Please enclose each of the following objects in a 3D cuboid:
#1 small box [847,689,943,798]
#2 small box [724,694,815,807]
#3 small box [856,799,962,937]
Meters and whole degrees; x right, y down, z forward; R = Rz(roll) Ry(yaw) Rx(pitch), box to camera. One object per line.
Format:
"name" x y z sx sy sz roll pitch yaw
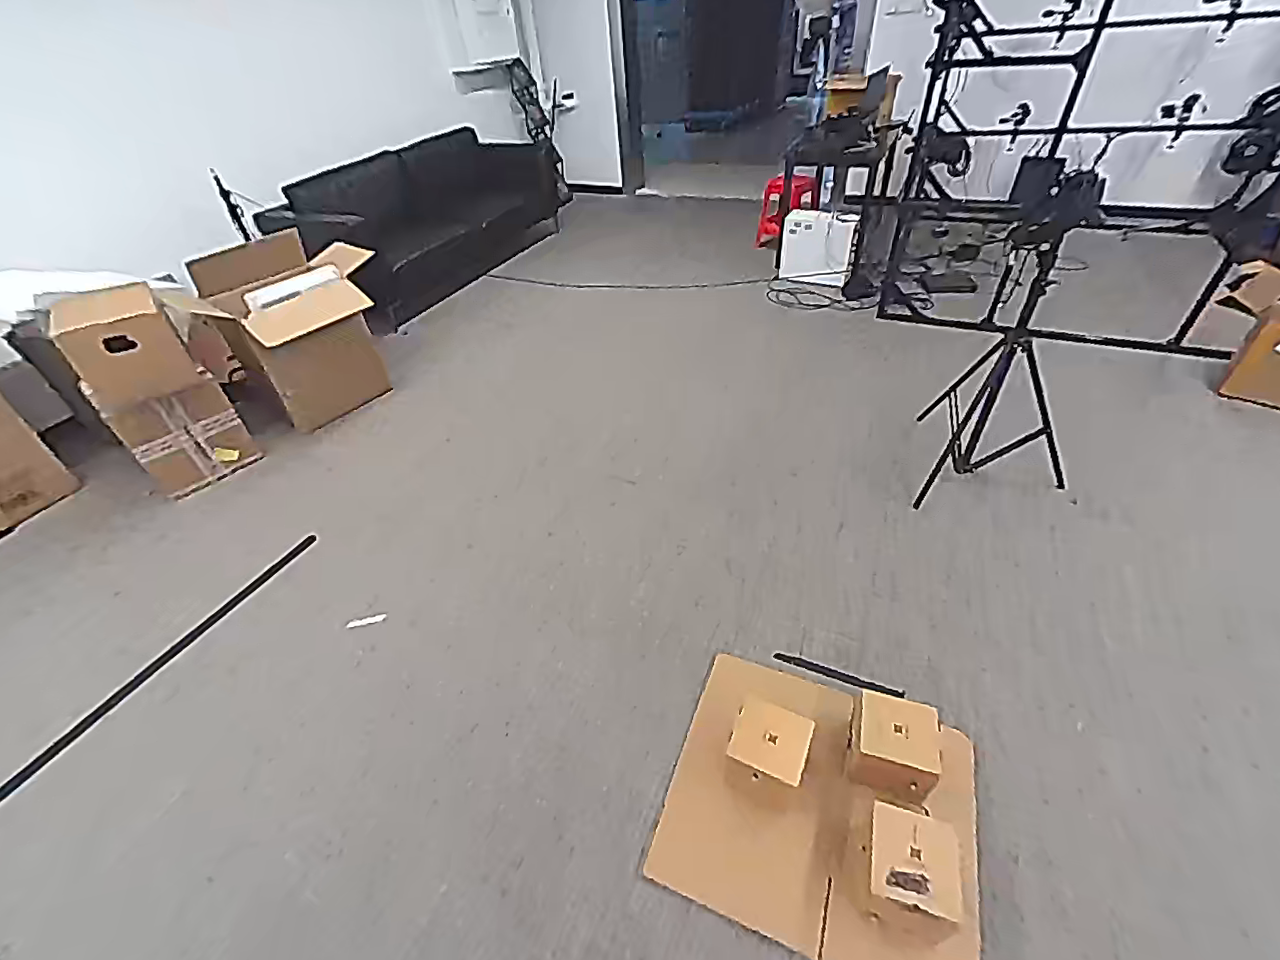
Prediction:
"small box" 0.620 0.650 1.328 0.179 0.176 0.168 9 42 17
"small box" 0.316 0.670 1.333 0.179 0.176 0.168 15 45 23
"small box" 0.559 0.818 1.138 0.168 0.176 0.179 10 43 17
